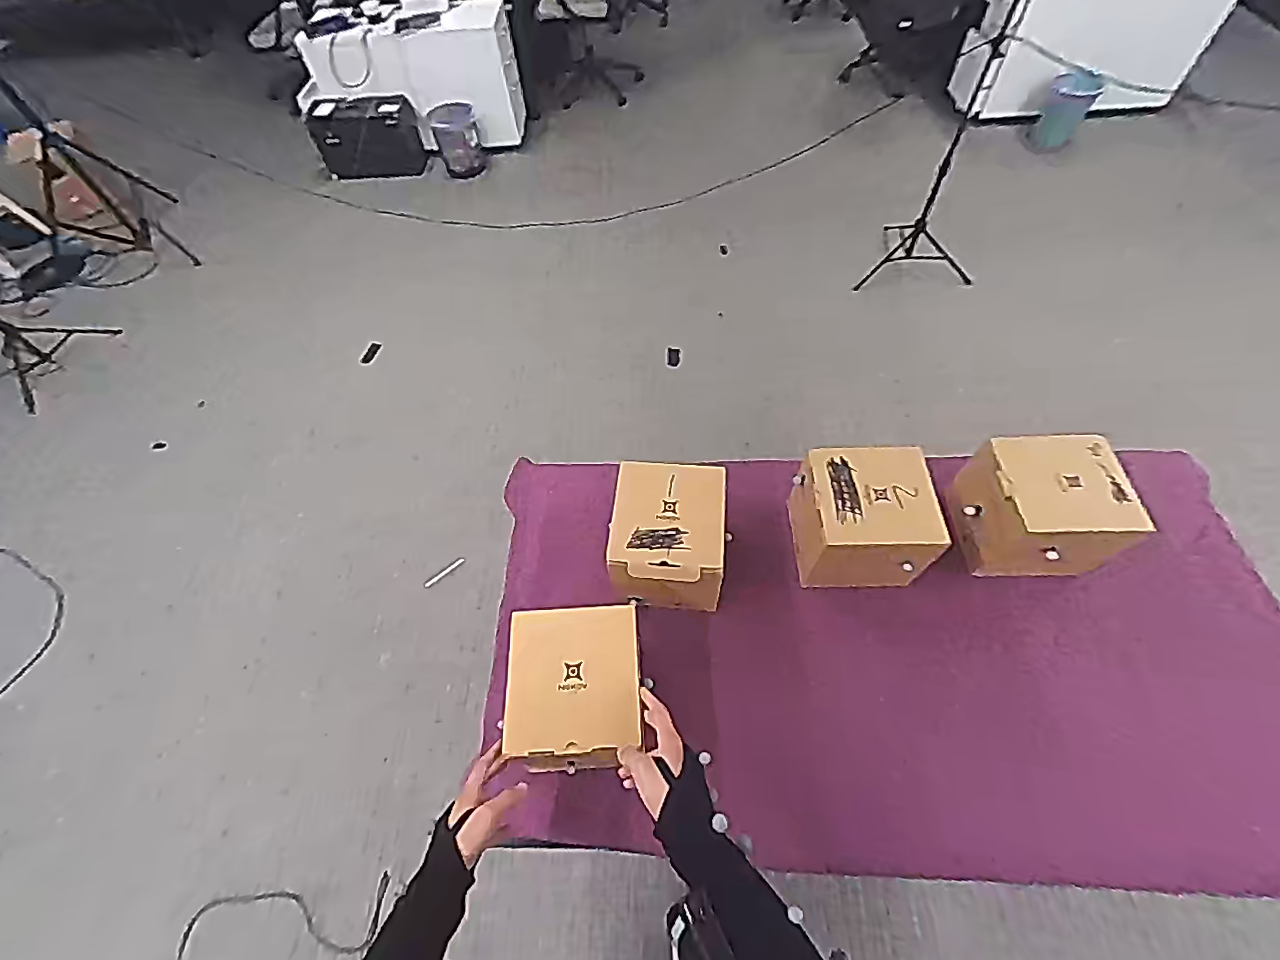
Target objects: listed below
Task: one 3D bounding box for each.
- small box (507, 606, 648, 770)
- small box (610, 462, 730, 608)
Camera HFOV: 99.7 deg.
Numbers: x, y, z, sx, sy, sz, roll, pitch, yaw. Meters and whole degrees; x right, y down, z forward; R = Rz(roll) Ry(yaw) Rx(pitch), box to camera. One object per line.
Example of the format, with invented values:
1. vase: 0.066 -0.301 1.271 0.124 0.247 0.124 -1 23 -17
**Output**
1. small box: -0.076 0.286 0.737 0.168 0.176 0.179 -3 58 -1
2. small box: 0.051 0.092 0.858 0.168 0.176 0.179 4 58 5
